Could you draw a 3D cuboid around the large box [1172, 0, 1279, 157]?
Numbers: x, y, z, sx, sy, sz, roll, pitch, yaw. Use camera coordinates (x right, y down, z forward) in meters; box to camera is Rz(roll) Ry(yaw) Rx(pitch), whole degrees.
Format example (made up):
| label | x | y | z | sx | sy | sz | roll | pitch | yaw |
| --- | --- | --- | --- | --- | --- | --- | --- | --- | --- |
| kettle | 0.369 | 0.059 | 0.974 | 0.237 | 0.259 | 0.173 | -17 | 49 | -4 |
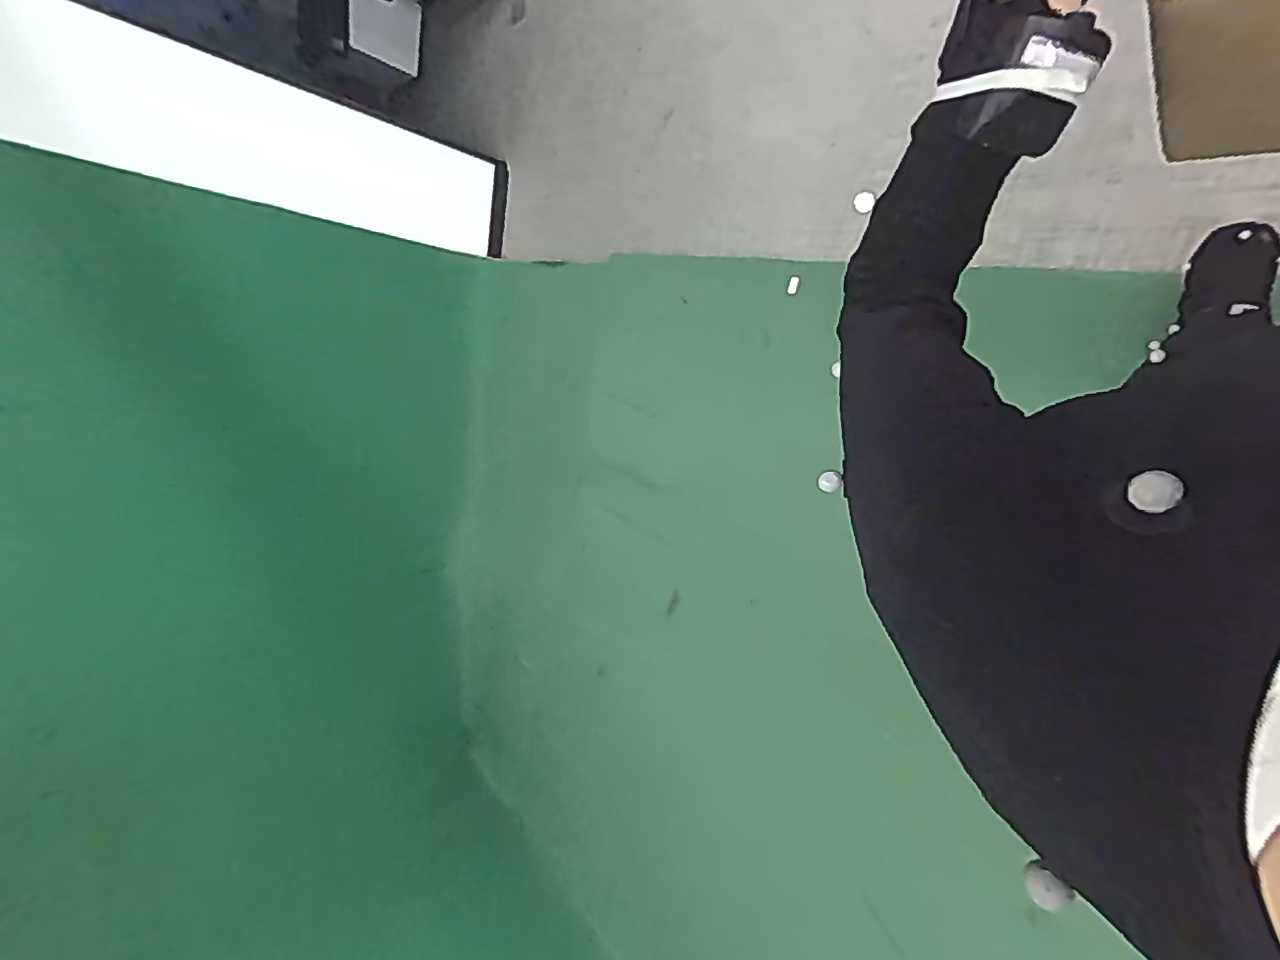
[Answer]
| label | x | y | z | sx | sy | sz | roll | pitch | yaw |
| --- | --- | --- | --- | --- | --- | --- | --- | --- | --- |
| large box | 0.554 | -0.387 | 0.241 | 0.408 | 0.320 | 0.320 | 20 | 111 | 42 |
